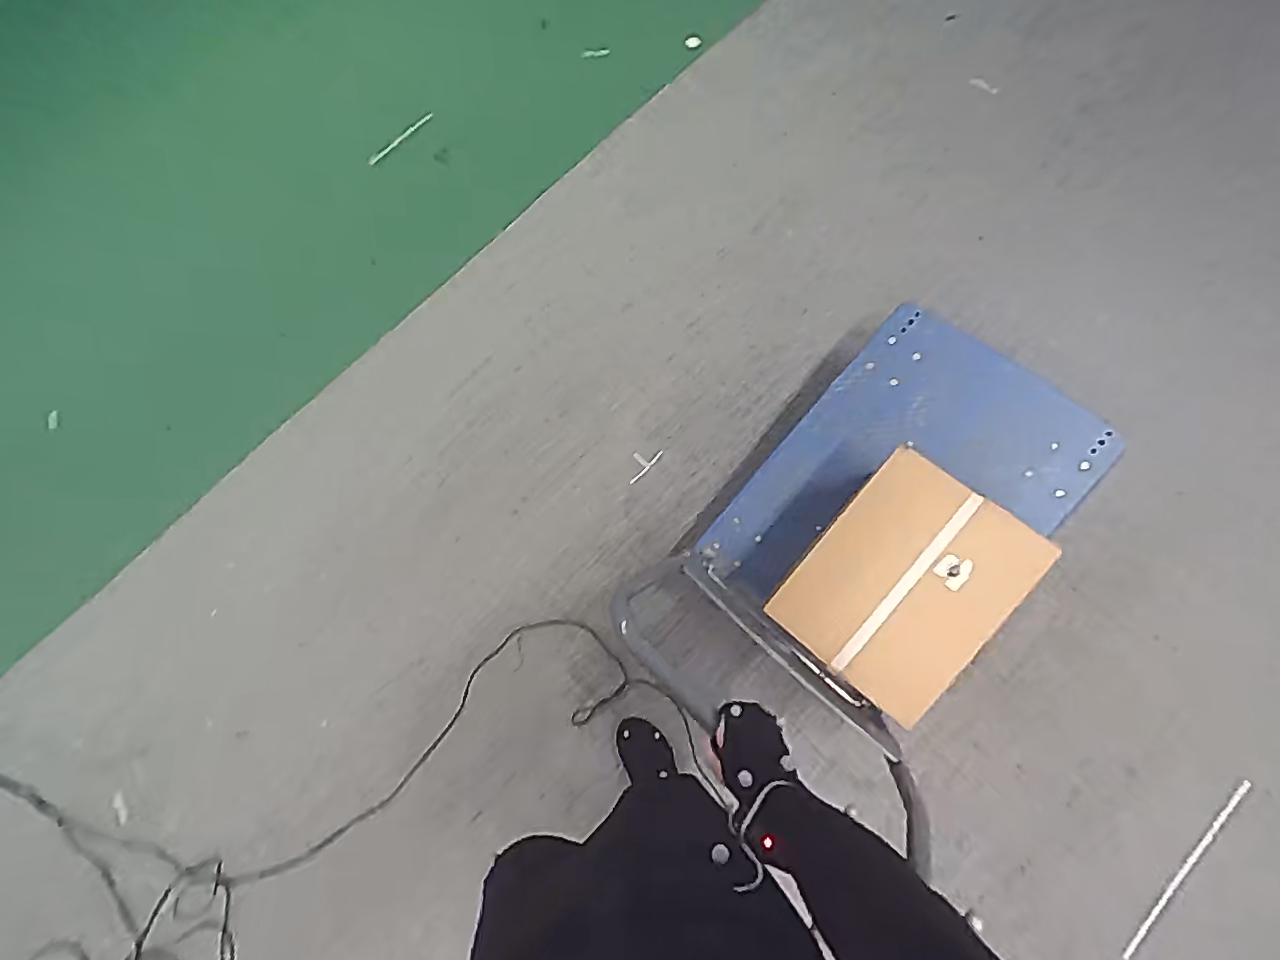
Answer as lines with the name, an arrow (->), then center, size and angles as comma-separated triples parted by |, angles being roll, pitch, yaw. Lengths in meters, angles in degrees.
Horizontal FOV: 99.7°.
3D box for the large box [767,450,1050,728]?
large box -> 0.506, 0.213, 1.113 | 0.320, 0.320, 0.408 | 40, 92, 16
